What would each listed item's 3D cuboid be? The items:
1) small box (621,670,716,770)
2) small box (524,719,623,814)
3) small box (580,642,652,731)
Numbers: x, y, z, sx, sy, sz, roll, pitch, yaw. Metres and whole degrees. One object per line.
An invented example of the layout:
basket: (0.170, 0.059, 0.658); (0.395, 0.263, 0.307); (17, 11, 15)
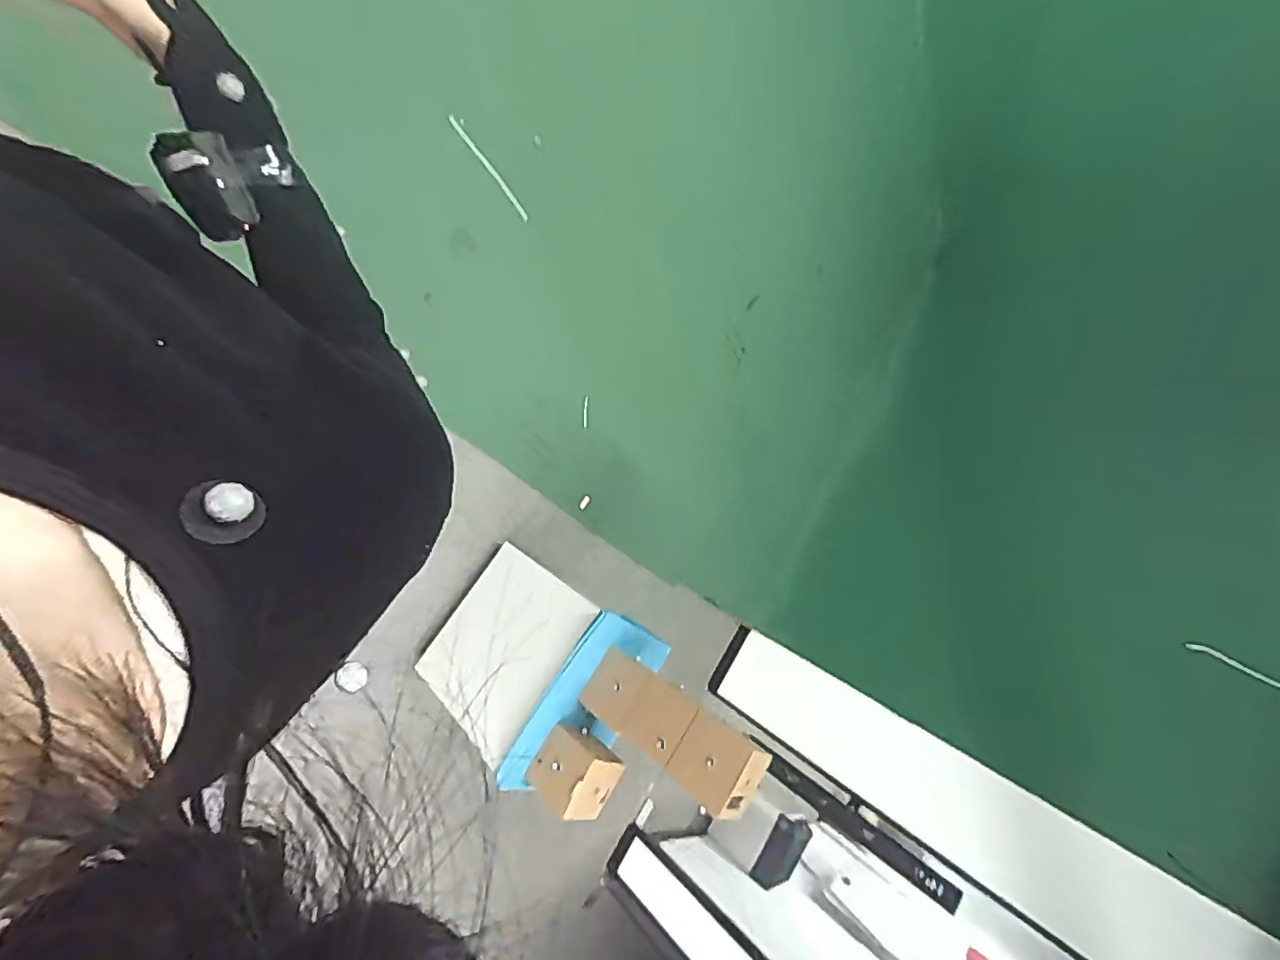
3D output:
small box: (0.071, 0.649, 1.466); (0.179, 0.176, 0.168); (-57, 141, -11)
small box: (-0.188, 0.796, 1.508); (0.168, 0.176, 0.179); (-57, 140, -11)
small box: (-0.050, 0.604, 1.568); (0.179, 0.176, 0.168); (-57, 141, -11)
